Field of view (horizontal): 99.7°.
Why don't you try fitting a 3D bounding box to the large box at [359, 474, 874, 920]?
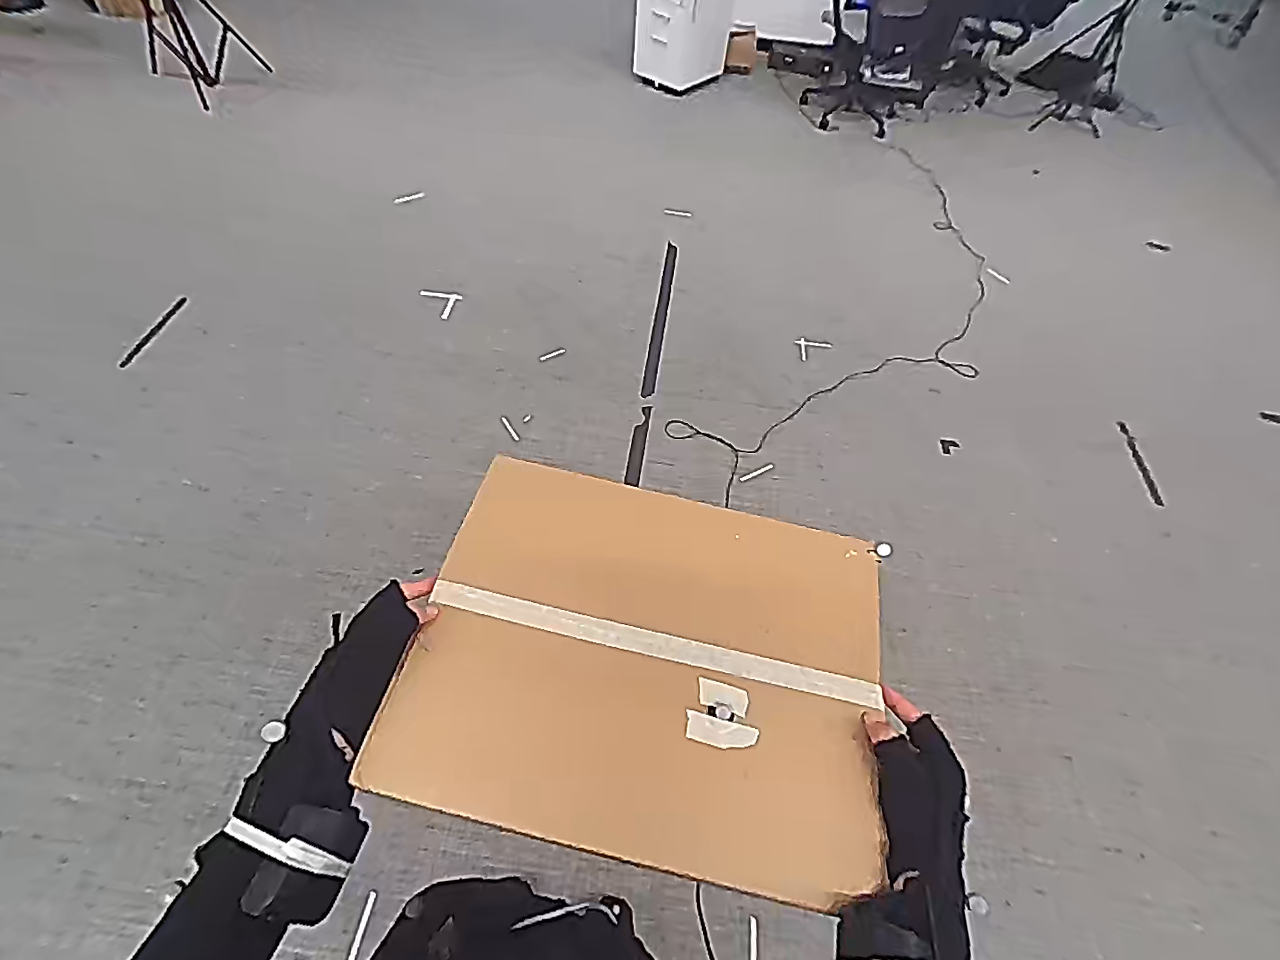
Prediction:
[{"bbox_3d":[-0.008,0.238,0.606,0.408,0.320,0.320,14,57,2],"label":"large box"}]
